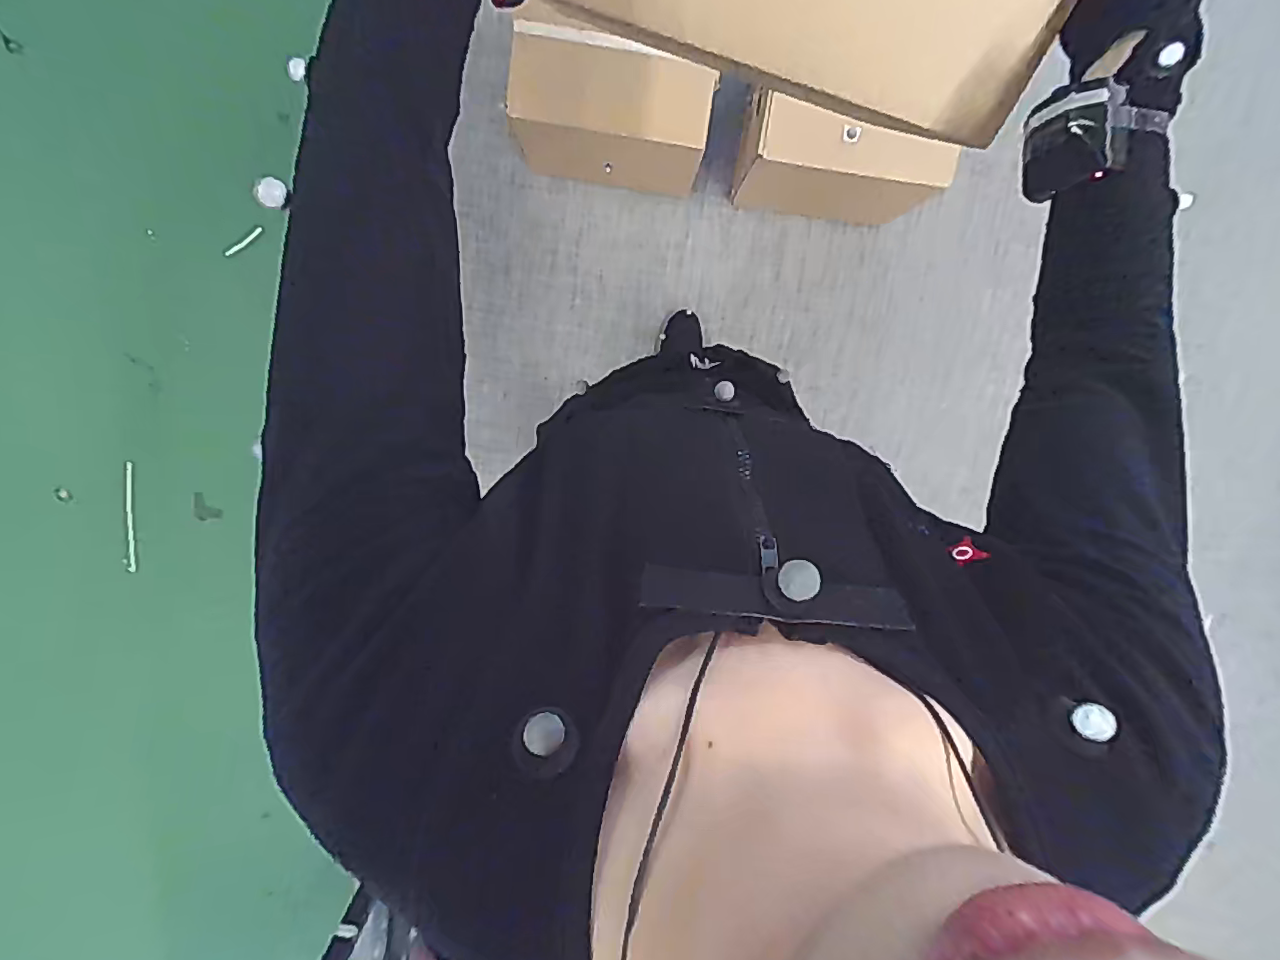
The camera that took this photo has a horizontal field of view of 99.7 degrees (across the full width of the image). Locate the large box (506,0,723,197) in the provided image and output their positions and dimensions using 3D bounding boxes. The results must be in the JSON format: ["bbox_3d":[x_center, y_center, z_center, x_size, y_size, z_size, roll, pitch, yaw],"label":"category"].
[{"bbox_3d":[-0.050,-0.862,1.200,0.408,0.320,0.320,8,100,-2],"label":"large box"}]
